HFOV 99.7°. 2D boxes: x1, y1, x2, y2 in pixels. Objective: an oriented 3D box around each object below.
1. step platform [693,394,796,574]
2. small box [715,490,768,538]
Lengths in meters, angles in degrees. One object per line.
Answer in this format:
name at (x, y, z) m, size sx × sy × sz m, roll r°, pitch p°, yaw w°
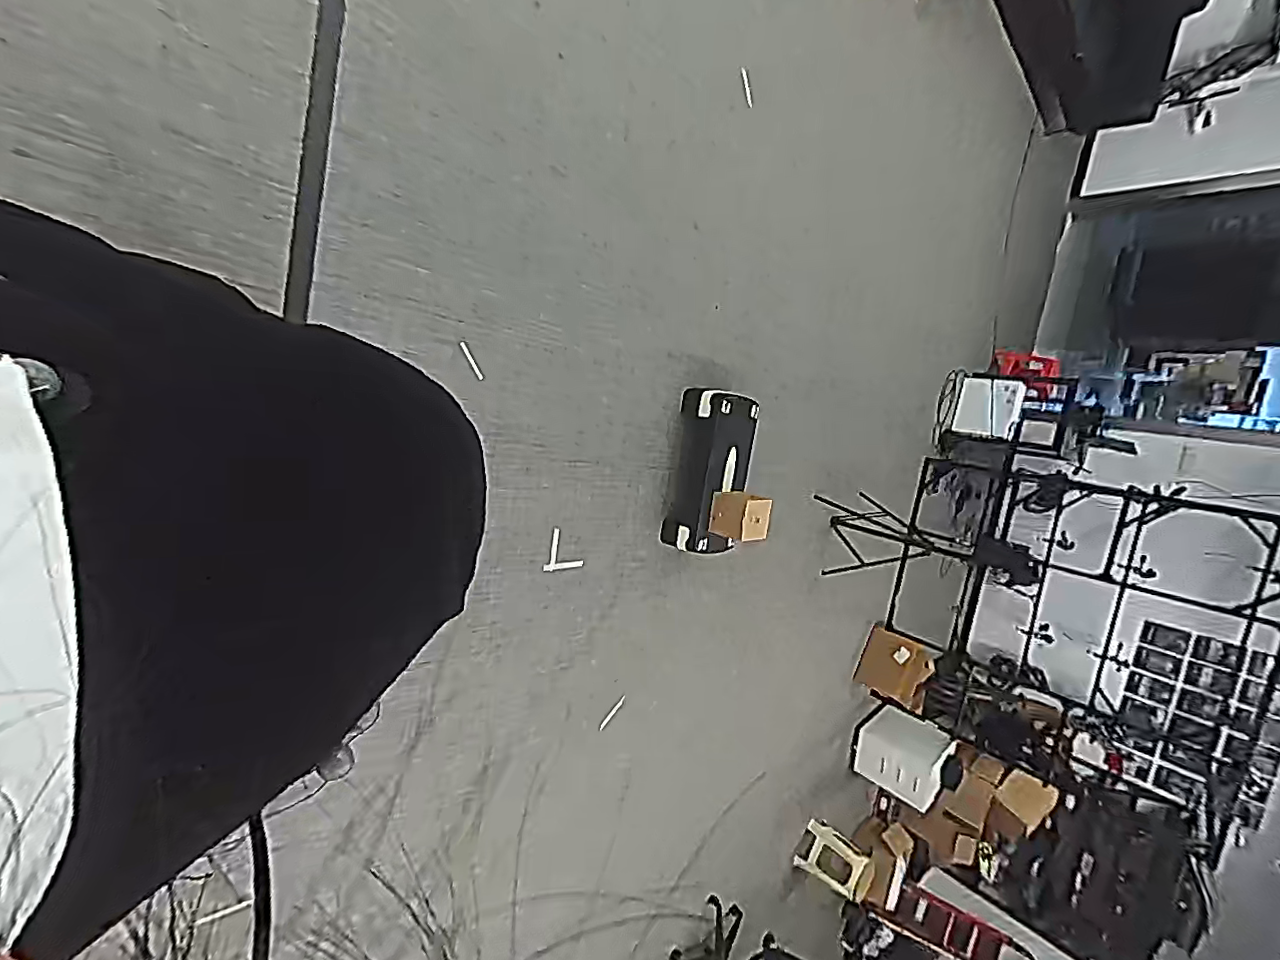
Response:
step platform at (0.408, 0.009, 2.123) m, size 0.286 × 0.204 × 0.684 m, roll 1°, pitch 102°, yaw -45°
small box at (0.391, 0.131, 2.191) m, size 0.179 × 0.176 × 0.168 m, roll 0°, pitch 101°, yaw -44°
